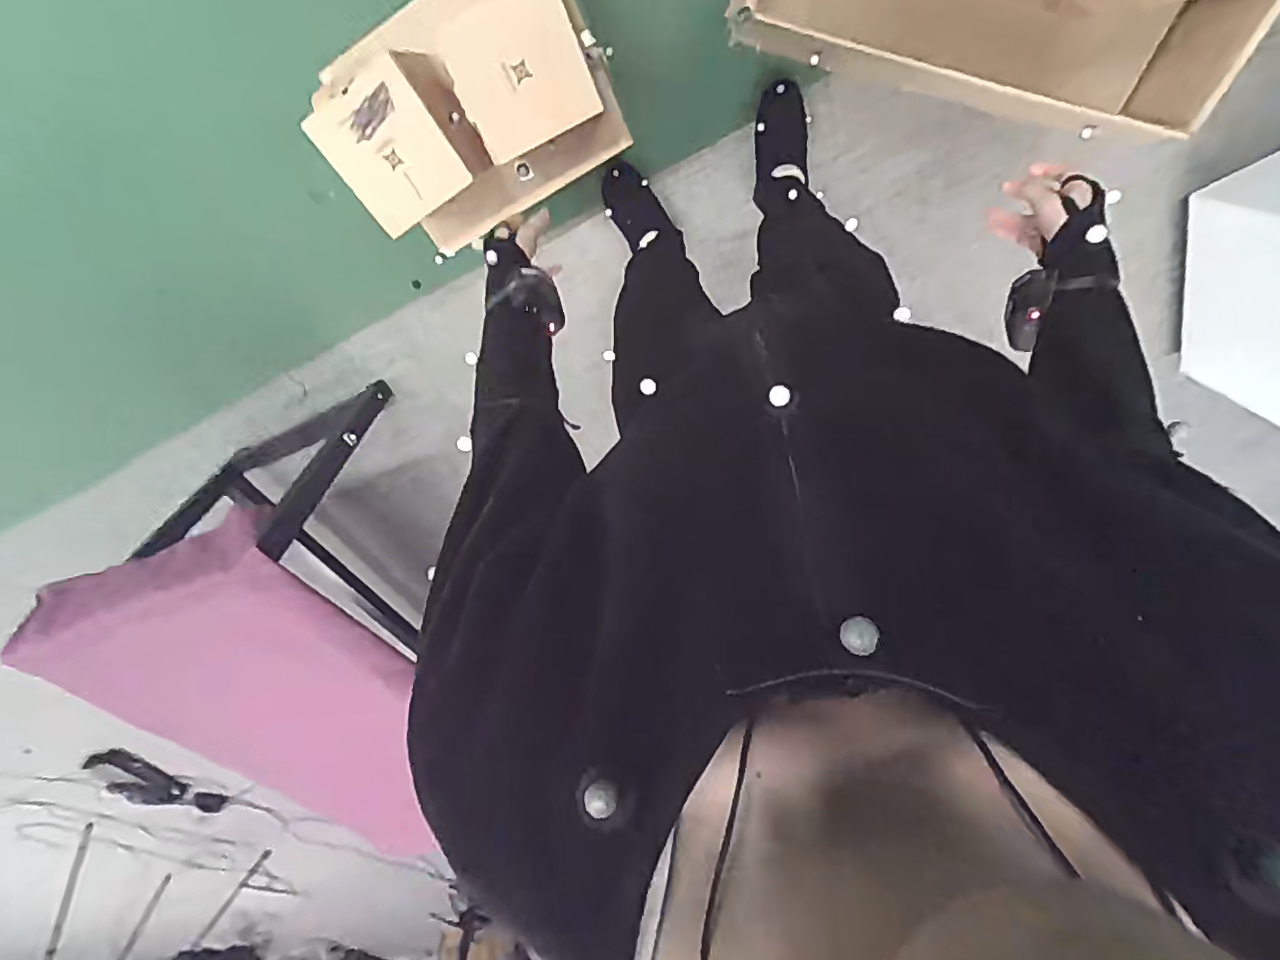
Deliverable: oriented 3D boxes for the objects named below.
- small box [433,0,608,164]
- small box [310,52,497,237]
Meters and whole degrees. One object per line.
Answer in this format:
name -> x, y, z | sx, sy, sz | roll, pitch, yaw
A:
small box -> -0.157, -0.587, 0.780 | 0.179, 0.176, 0.168 | -19, 125, 13
small box -> -0.349, -0.513, 0.834 | 0.168, 0.176, 0.179 | -25, 123, 17
